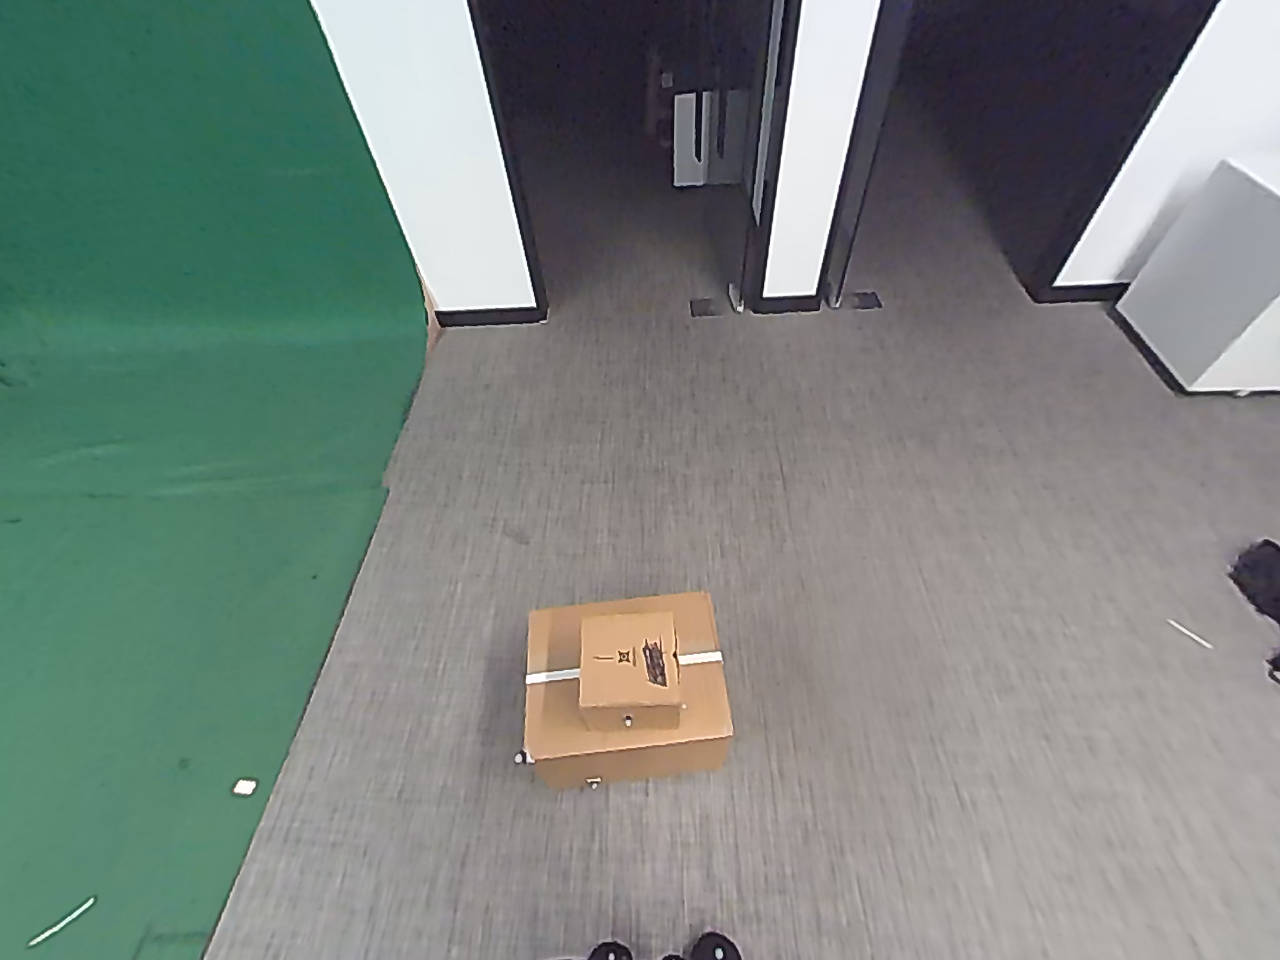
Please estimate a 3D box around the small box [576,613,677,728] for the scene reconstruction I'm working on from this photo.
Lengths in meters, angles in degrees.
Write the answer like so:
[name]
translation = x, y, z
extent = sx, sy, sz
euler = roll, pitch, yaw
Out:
[small box]
translation = -0.021, 0.367, 1.038
extent = 0.179, 0.176, 0.168
euler = -4, 52, 2
